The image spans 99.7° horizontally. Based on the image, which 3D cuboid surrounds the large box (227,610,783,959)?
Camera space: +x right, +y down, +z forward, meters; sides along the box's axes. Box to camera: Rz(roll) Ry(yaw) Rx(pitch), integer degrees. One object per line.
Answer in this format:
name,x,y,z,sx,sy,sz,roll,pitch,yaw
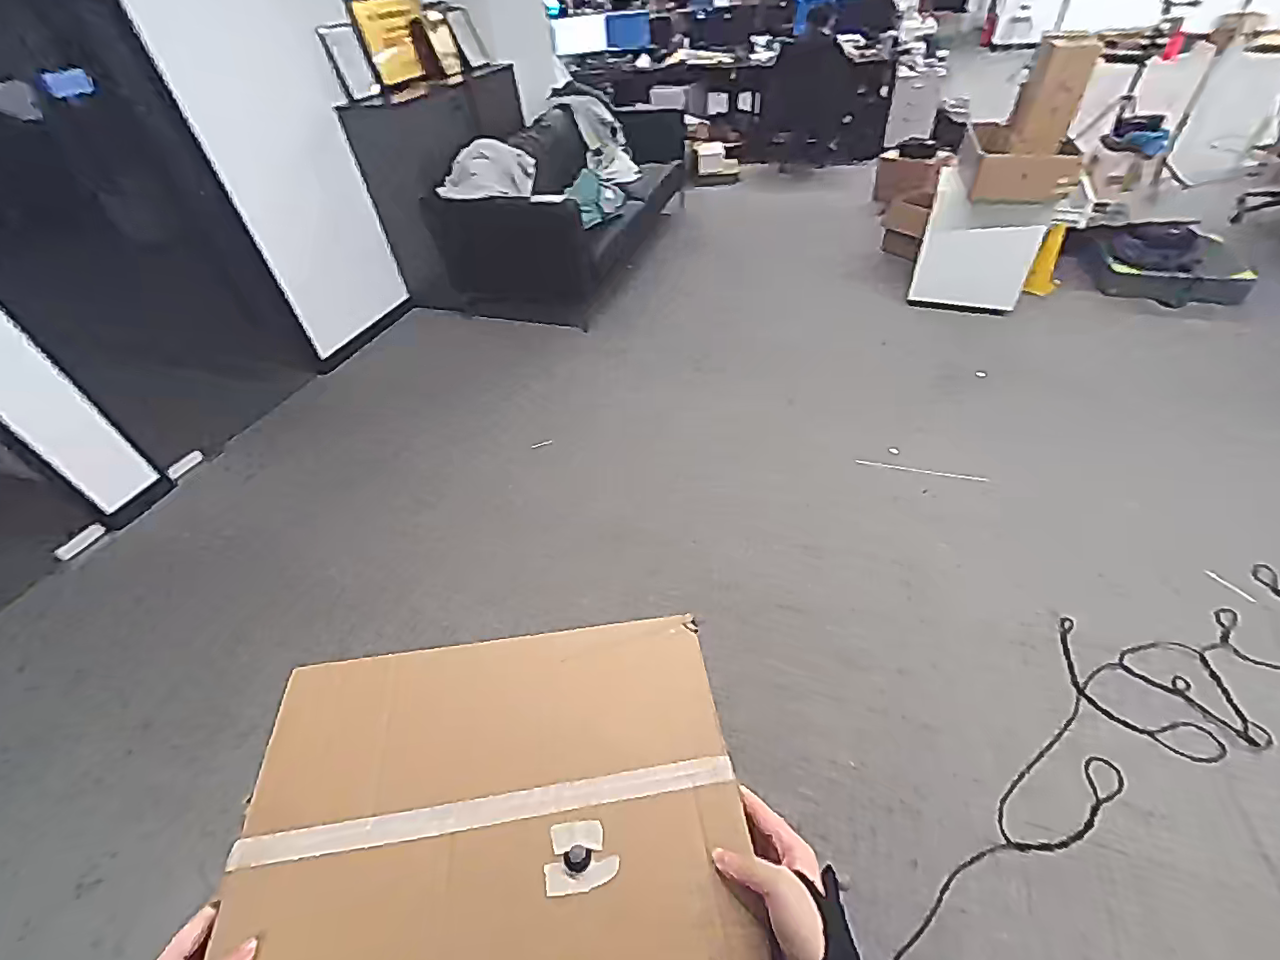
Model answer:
large box,-0.118,0.375,0.573,0.408,0.320,0.320,-5,46,-7
